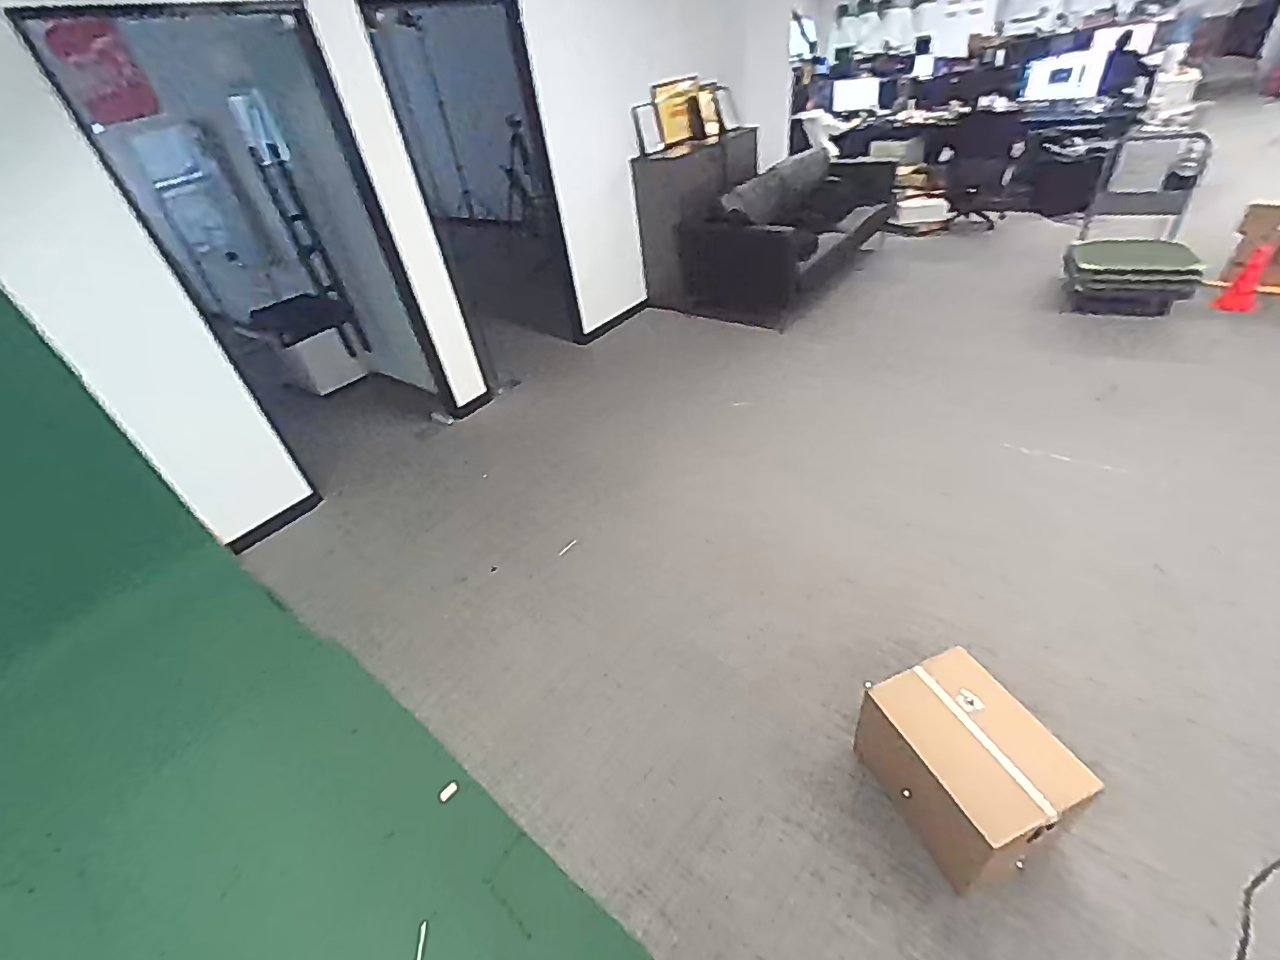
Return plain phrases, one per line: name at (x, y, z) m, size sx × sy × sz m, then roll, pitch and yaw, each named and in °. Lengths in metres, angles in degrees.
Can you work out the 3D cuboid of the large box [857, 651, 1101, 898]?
large box at (0.821, 0.735, 1.384) m, size 0.320 × 0.320 × 0.408 m, roll -19°, pitch 37°, yaw -12°
